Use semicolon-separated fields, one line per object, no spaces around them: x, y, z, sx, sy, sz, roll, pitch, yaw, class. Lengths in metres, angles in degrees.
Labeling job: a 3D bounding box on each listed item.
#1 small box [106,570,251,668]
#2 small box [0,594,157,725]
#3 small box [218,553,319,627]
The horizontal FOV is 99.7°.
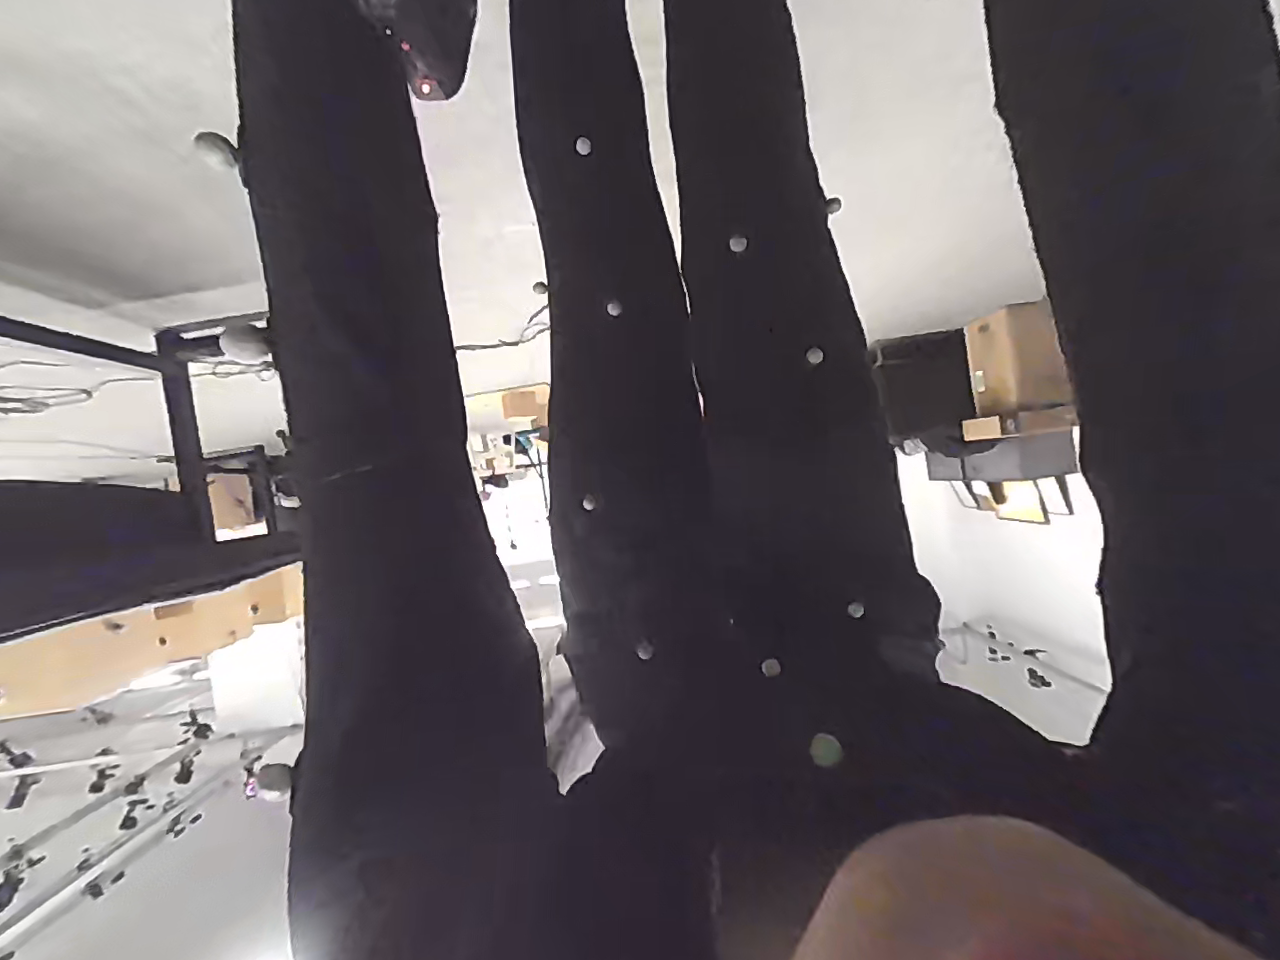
-1.007;0.299;1.184;0.179;0.176;0.168;-8;-179;-1;small box
-1.006;0.304;0.941;0.179;0.176;0.168;-8;-179;0;small box
-1.015;0.297;1.472;0.179;0.176;0.168;-8;180;0;small box
